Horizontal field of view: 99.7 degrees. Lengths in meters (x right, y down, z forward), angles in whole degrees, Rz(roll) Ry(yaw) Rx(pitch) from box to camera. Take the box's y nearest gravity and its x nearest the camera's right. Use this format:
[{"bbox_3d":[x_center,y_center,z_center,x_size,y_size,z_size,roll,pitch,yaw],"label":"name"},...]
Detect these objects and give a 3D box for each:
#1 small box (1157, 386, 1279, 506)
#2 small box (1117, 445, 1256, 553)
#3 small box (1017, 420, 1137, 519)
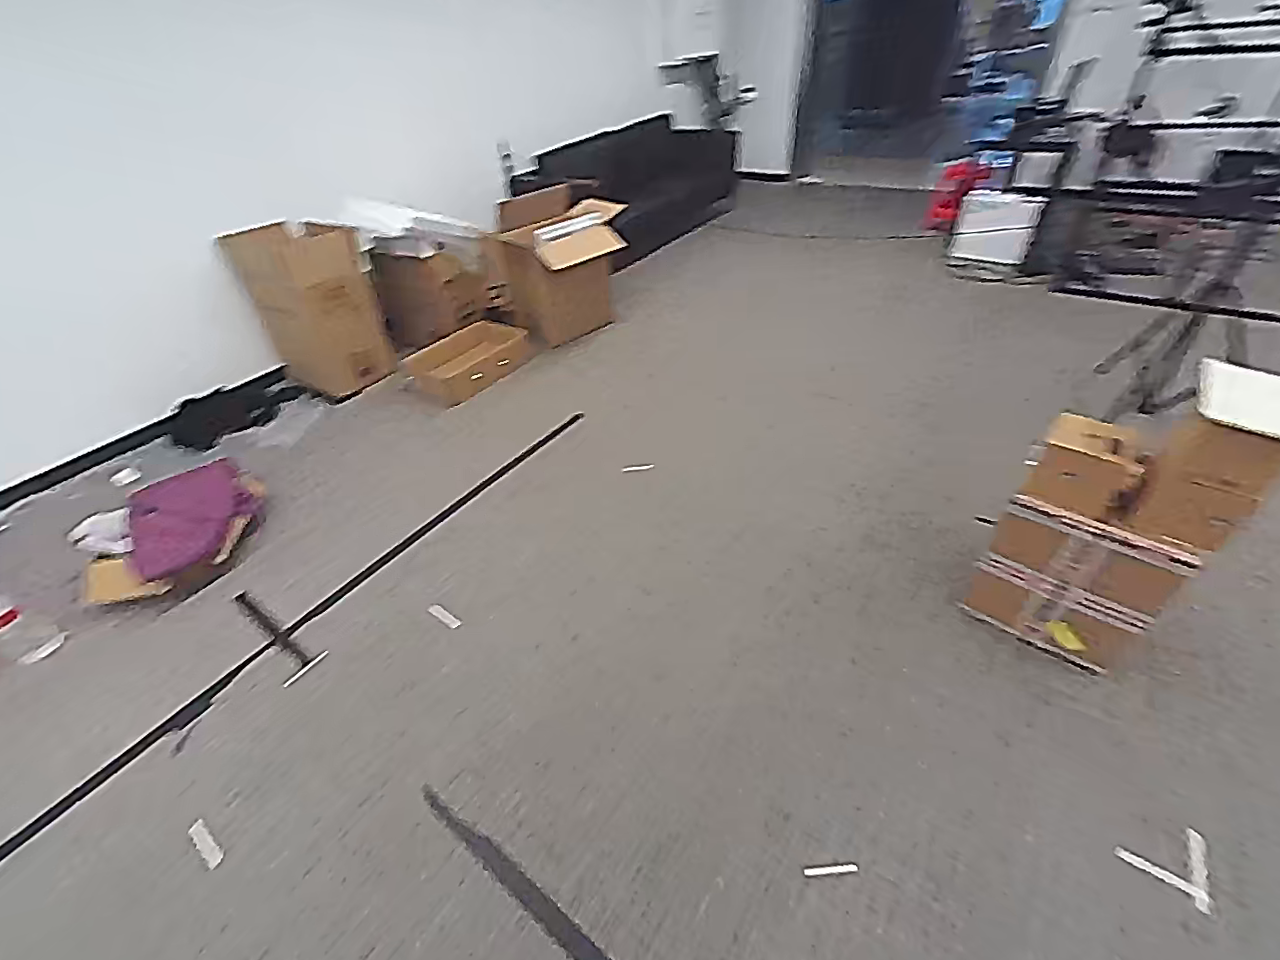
[{"bbox_3d":[1.293,-0.076,1.194,0.168,0.176,0.179,24,49,28],"label":"small box"},{"bbox_3d":[1.300,0.050,1.297,0.179,0.176,0.168,22,49,27],"label":"small box"},{"bbox_3d":[1.127,-0.025,1.403,0.179,0.176,0.168,28,52,35],"label":"small box"}]
